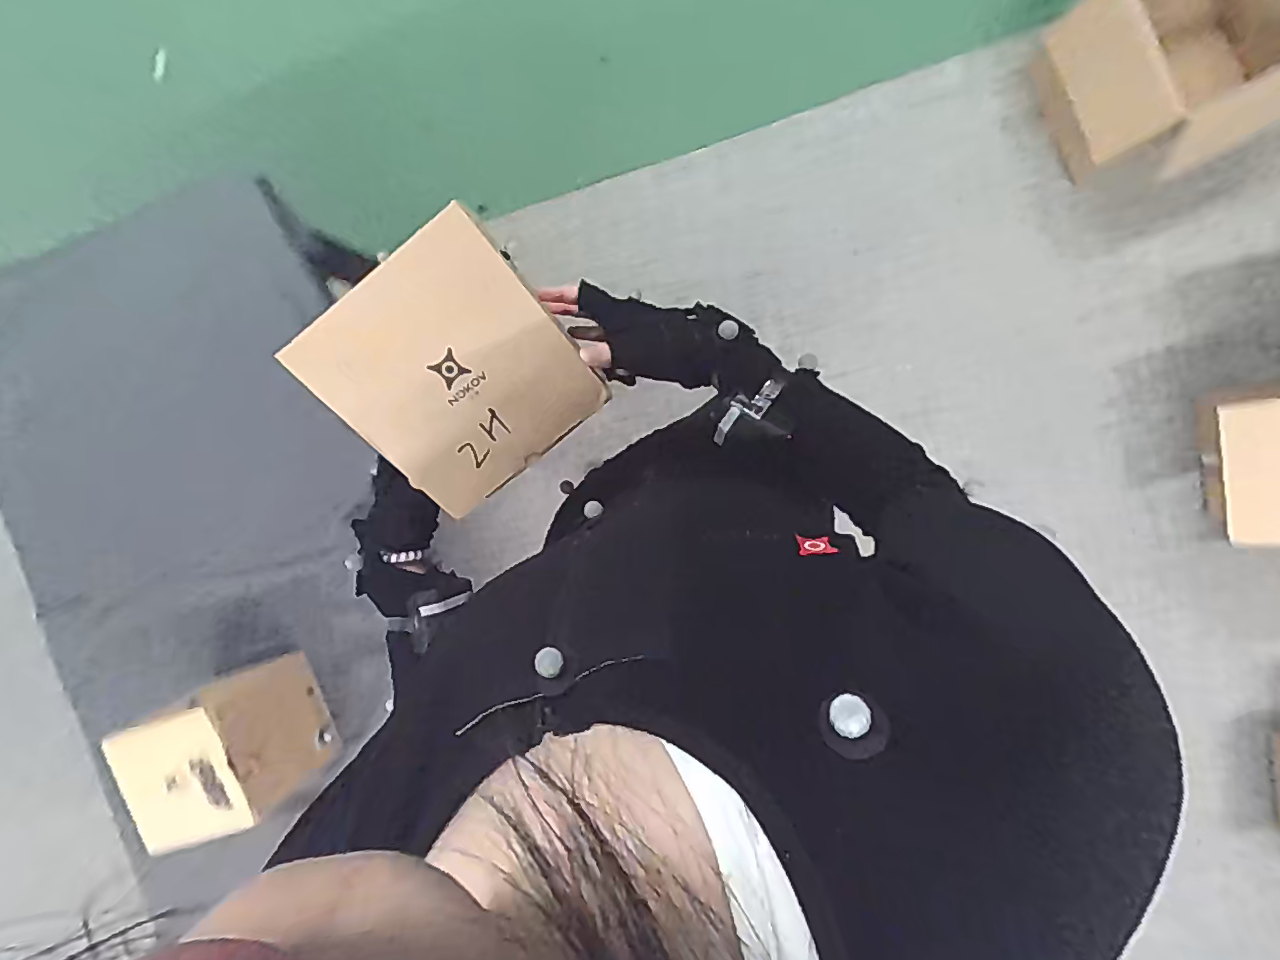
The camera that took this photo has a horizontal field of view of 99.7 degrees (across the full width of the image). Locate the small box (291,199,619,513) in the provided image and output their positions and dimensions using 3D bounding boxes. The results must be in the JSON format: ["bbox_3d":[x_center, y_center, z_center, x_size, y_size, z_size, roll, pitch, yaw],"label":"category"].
[{"bbox_3d":[-0.145,-0.109,0.471,0.168,0.176,0.179,-37,116,5],"label":"small box"}]

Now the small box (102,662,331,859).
[{"bbox_3d":[-0.581,0.386,0.772,0.179,0.176,0.168,-20,94,9],"label":"small box"}]
